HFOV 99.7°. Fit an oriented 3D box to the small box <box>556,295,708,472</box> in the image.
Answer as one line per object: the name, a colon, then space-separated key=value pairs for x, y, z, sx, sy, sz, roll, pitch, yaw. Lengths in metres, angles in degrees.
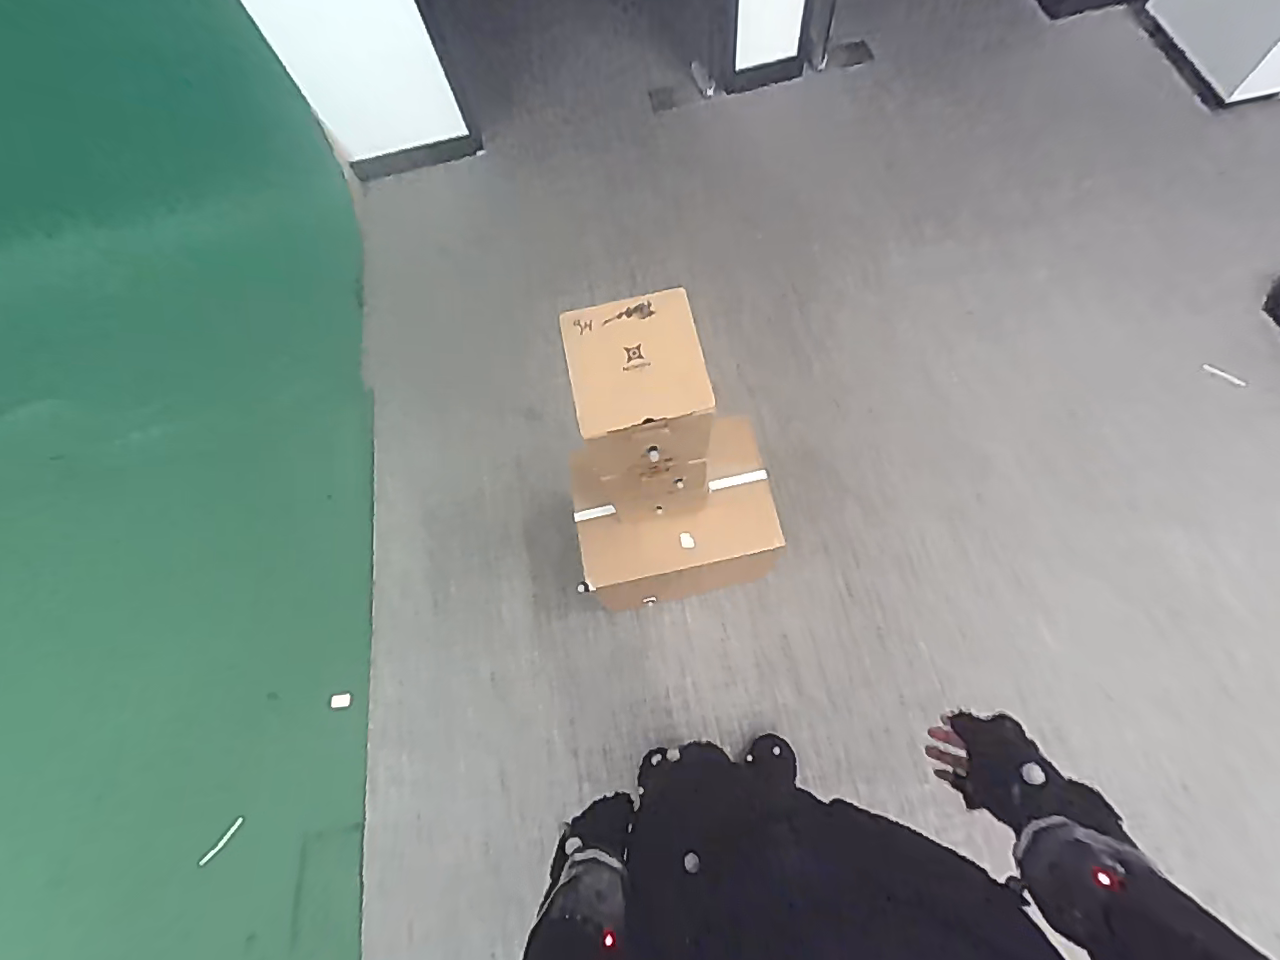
small box: x=-0.006 y=-0.118 z=0.743 sx=0.168 sy=0.176 sz=0.179 roll=-12 pitch=74 yaw=1

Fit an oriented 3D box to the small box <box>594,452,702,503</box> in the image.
small box: x=0.007 y=-0.069 z=0.899 sx=0.168 sy=0.176 sz=0.179 roll=-12 pitch=72 yaw=1

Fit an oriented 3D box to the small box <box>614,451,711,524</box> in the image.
small box: x=0.032 y=-0.022 z=1.052 sx=0.179 sy=0.176 sz=0.168 roll=-12 pitch=74 yaw=1
